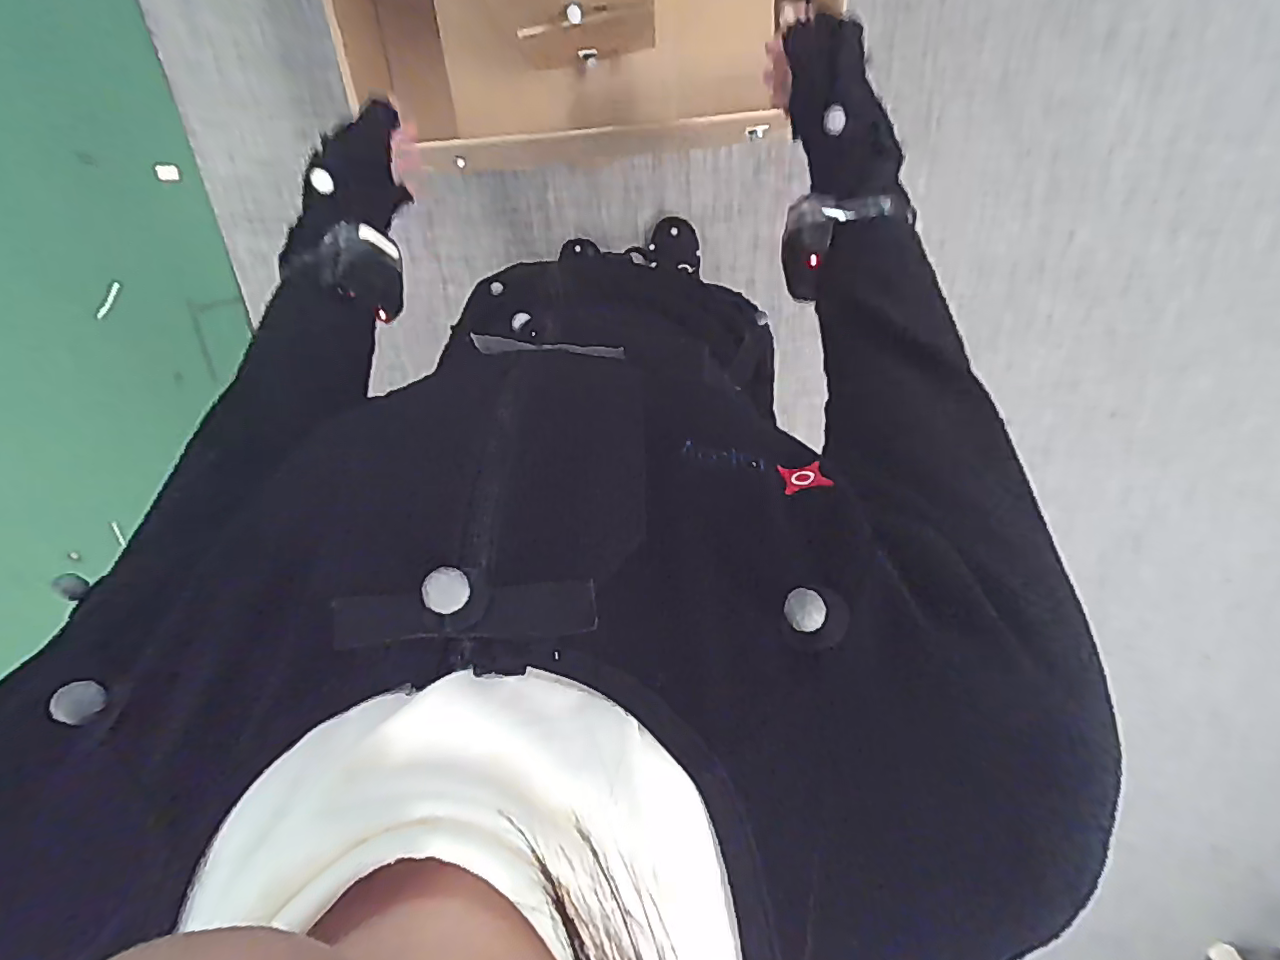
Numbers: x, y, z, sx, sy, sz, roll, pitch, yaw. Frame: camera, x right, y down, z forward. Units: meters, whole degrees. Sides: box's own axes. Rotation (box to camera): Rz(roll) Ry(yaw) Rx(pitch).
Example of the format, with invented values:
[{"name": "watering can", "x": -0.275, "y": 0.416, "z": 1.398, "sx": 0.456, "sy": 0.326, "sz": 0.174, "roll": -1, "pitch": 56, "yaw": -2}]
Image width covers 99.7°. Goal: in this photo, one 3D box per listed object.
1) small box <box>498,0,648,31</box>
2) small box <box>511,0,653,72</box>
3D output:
[{"name": "small box", "x": -0.081, "y": -0.572, "z": 0.513, "sx": 0.168, "sy": 0.176, "sz": 0.179, "roll": -5, "pitch": 115, "yaw": 6}, {"name": "small box", "x": -0.076, "y": -0.639, "z": 0.663, "sx": 0.168, "sy": 0.176, "sz": 0.179, "roll": -7, "pitch": 115, "yaw": 6}]
